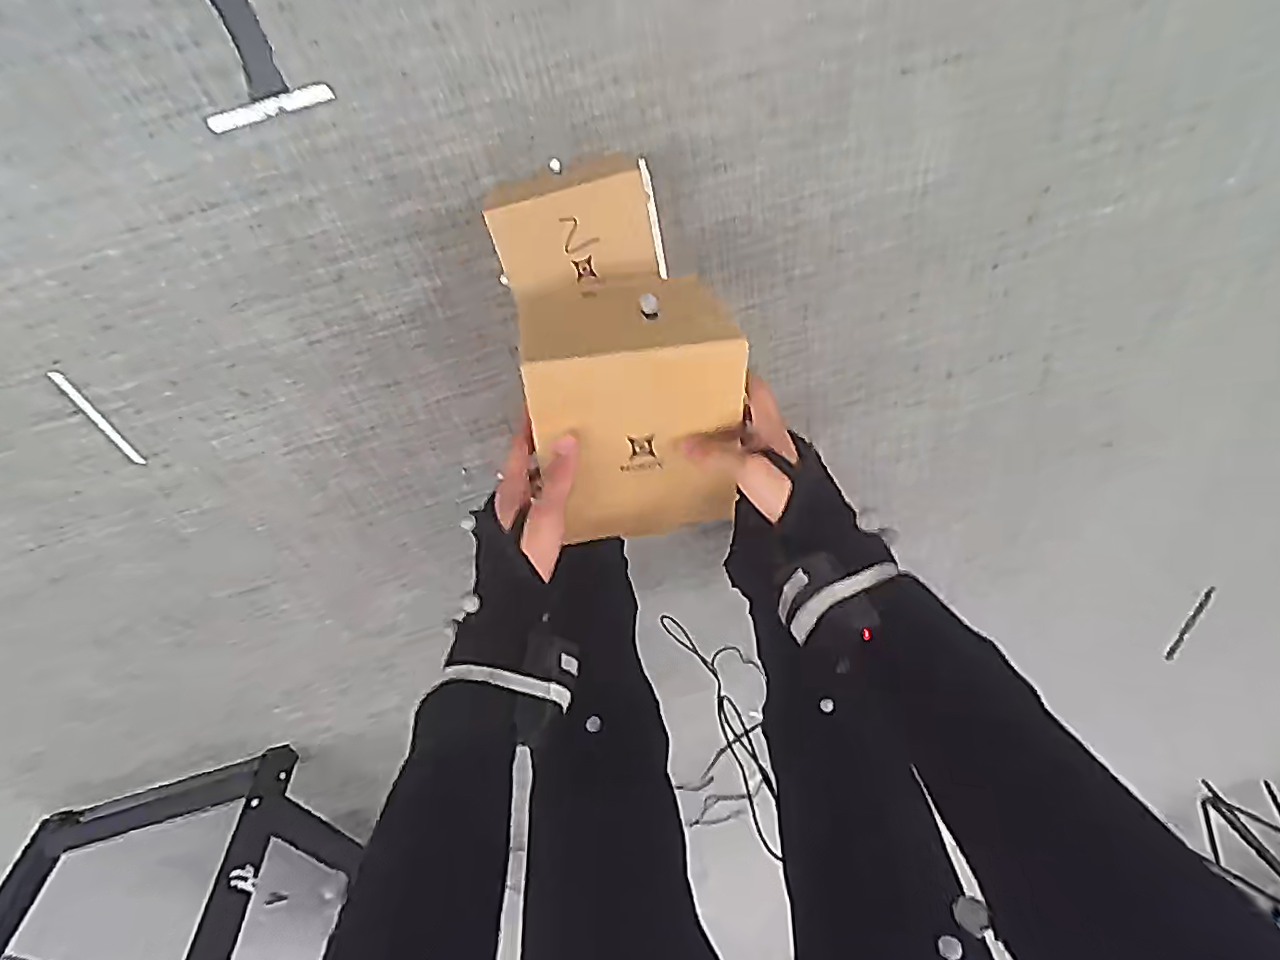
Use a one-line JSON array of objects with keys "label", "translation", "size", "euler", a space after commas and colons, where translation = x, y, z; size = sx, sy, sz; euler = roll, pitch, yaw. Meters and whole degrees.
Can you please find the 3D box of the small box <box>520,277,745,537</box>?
[{"label": "small box", "translation": [-0.014, -0.075, 0.493], "size": [0.168, 0.176, 0.179], "euler": [-6, 129, -5]}]
